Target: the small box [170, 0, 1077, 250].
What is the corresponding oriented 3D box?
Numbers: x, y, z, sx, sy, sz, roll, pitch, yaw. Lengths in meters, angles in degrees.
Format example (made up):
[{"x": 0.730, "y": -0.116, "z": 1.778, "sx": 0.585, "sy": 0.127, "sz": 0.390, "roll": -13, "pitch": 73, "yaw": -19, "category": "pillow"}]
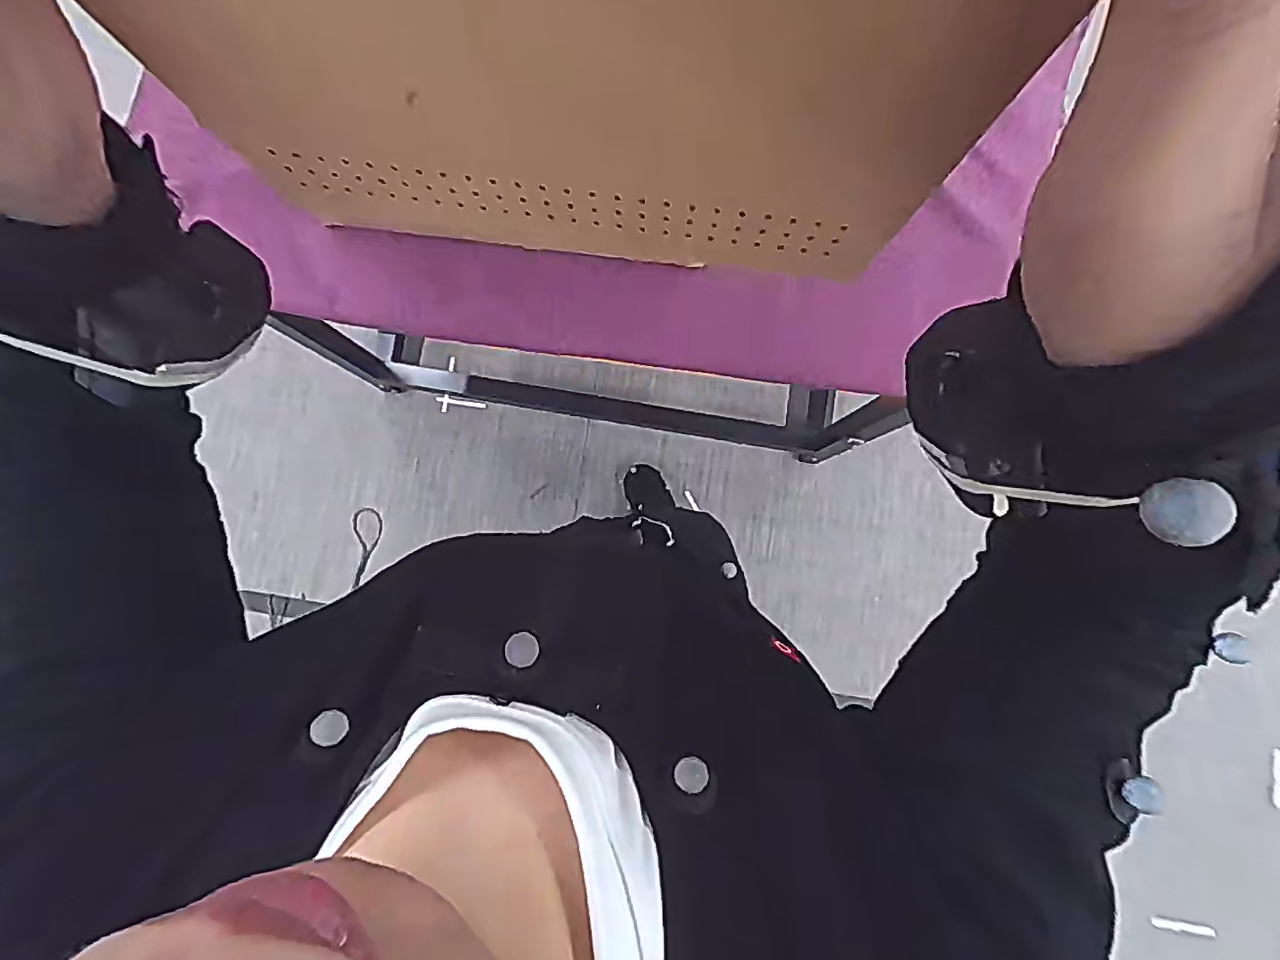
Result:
[{"x": -0.002, "y": -0.160, "z": 0.085, "sx": 0.179, "sy": 0.176, "sz": 0.168, "roll": 8, "pitch": 85, "yaw": 1, "category": "small box"}]
